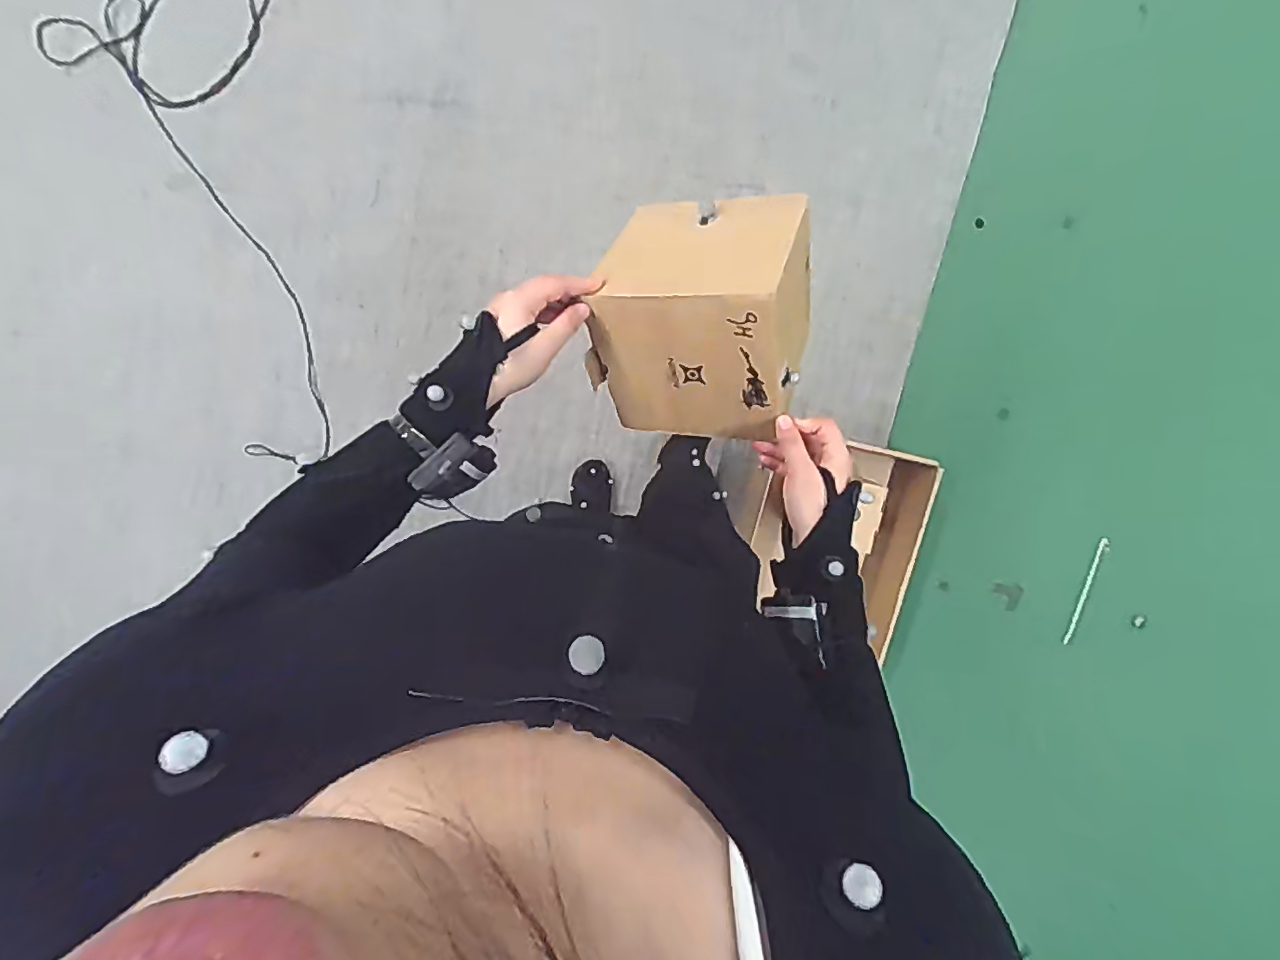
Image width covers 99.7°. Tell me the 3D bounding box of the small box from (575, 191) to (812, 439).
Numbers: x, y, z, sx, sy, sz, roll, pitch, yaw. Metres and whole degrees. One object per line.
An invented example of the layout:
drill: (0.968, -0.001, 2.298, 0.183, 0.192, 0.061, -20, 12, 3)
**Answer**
small box: (0.065, -0.165, 0.541, 0.179, 0.176, 0.168, 8, 144, 23)

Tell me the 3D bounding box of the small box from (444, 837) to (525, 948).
small box: (-0.449, 1.205, 1.589, 0.168, 0.176, 0.179, 18, 99, -3)
